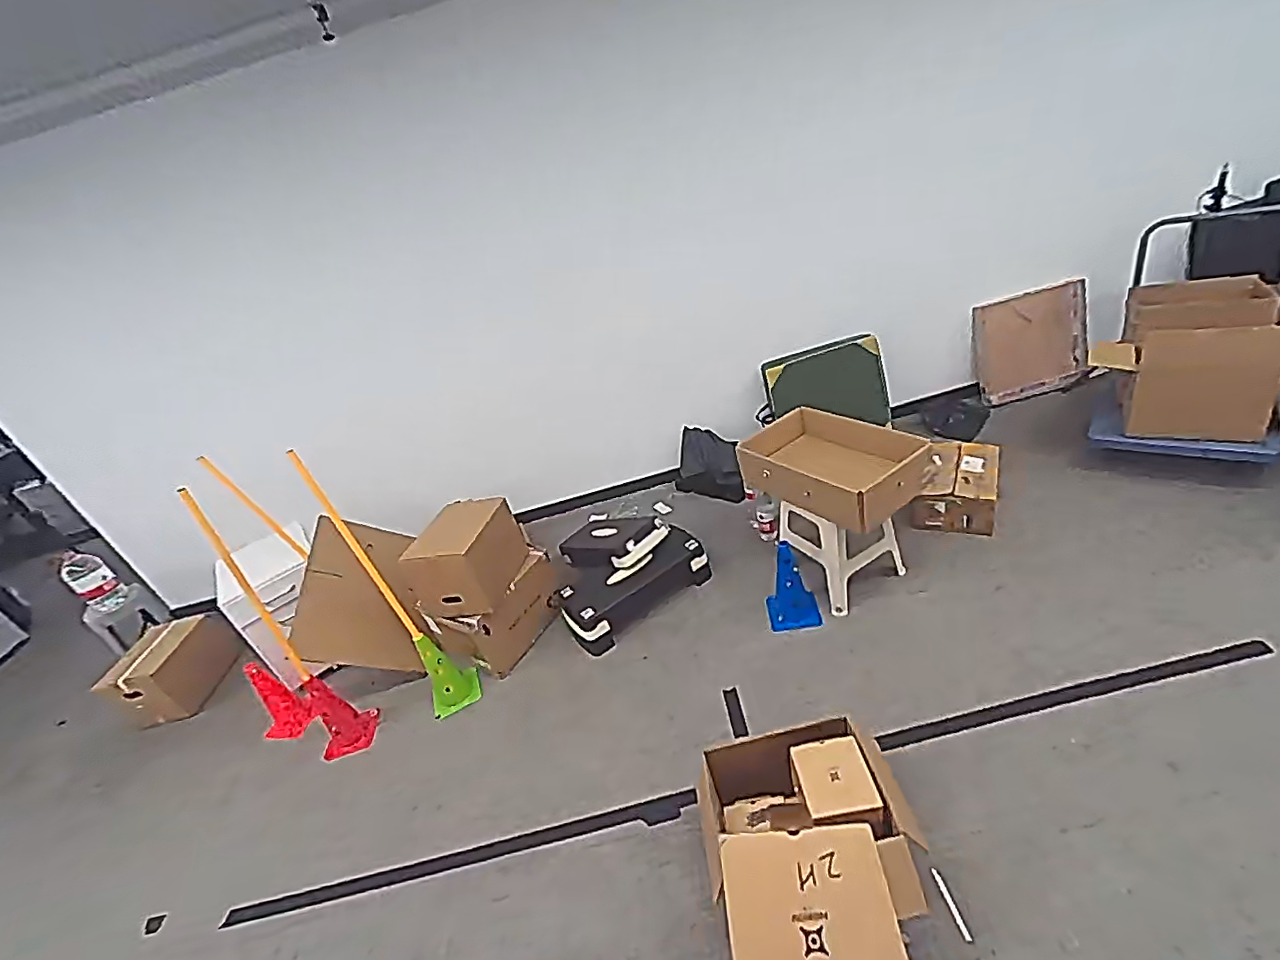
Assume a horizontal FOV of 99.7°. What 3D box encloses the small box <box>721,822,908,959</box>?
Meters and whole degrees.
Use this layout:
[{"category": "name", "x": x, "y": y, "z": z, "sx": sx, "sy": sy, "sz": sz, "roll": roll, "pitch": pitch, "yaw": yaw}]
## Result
[{"category": "small box", "x": 0.184, "y": 0.496, "z": 0.589, "sx": 0.168, "sy": 0.176, "sz": 0.179, "roll": -7, "pitch": 45, "yaw": 5}]
